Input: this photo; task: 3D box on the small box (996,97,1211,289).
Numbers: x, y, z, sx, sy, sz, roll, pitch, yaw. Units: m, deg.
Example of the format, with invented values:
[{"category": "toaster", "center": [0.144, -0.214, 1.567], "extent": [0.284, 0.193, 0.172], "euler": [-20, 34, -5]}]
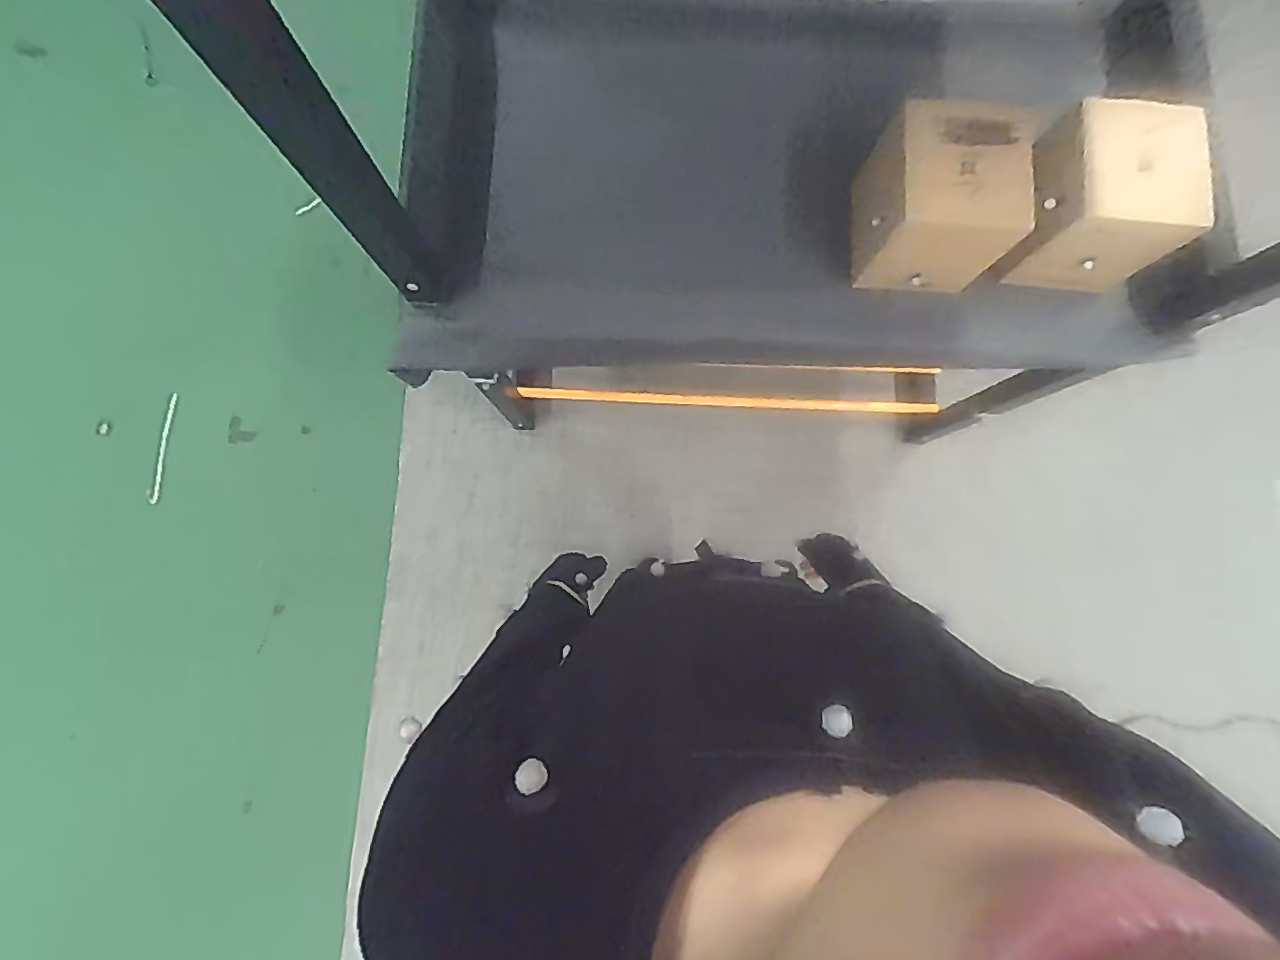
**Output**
[{"category": "small box", "center": [0.640, -0.394, 0.768], "extent": [0.168, 0.176, 0.179], "euler": [6, 81, 0]}]
